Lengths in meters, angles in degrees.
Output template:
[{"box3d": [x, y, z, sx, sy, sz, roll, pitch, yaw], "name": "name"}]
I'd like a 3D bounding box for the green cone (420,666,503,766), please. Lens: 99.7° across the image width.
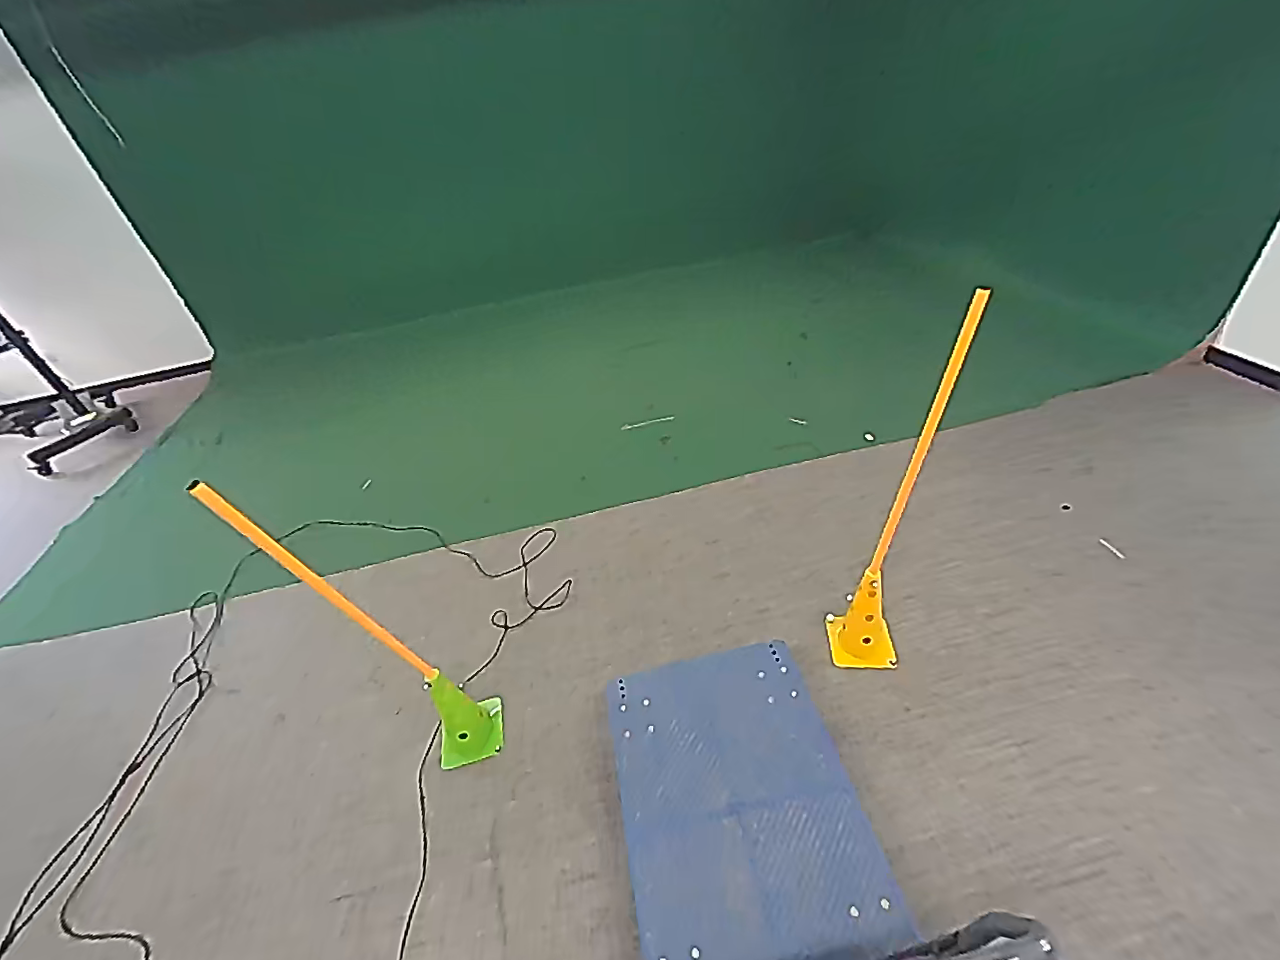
[{"box3d": [-0.582, 0.685, 1.672, 0.202, 0.368, 0.200, -17, 39, -5], "name": "green cone"}]
